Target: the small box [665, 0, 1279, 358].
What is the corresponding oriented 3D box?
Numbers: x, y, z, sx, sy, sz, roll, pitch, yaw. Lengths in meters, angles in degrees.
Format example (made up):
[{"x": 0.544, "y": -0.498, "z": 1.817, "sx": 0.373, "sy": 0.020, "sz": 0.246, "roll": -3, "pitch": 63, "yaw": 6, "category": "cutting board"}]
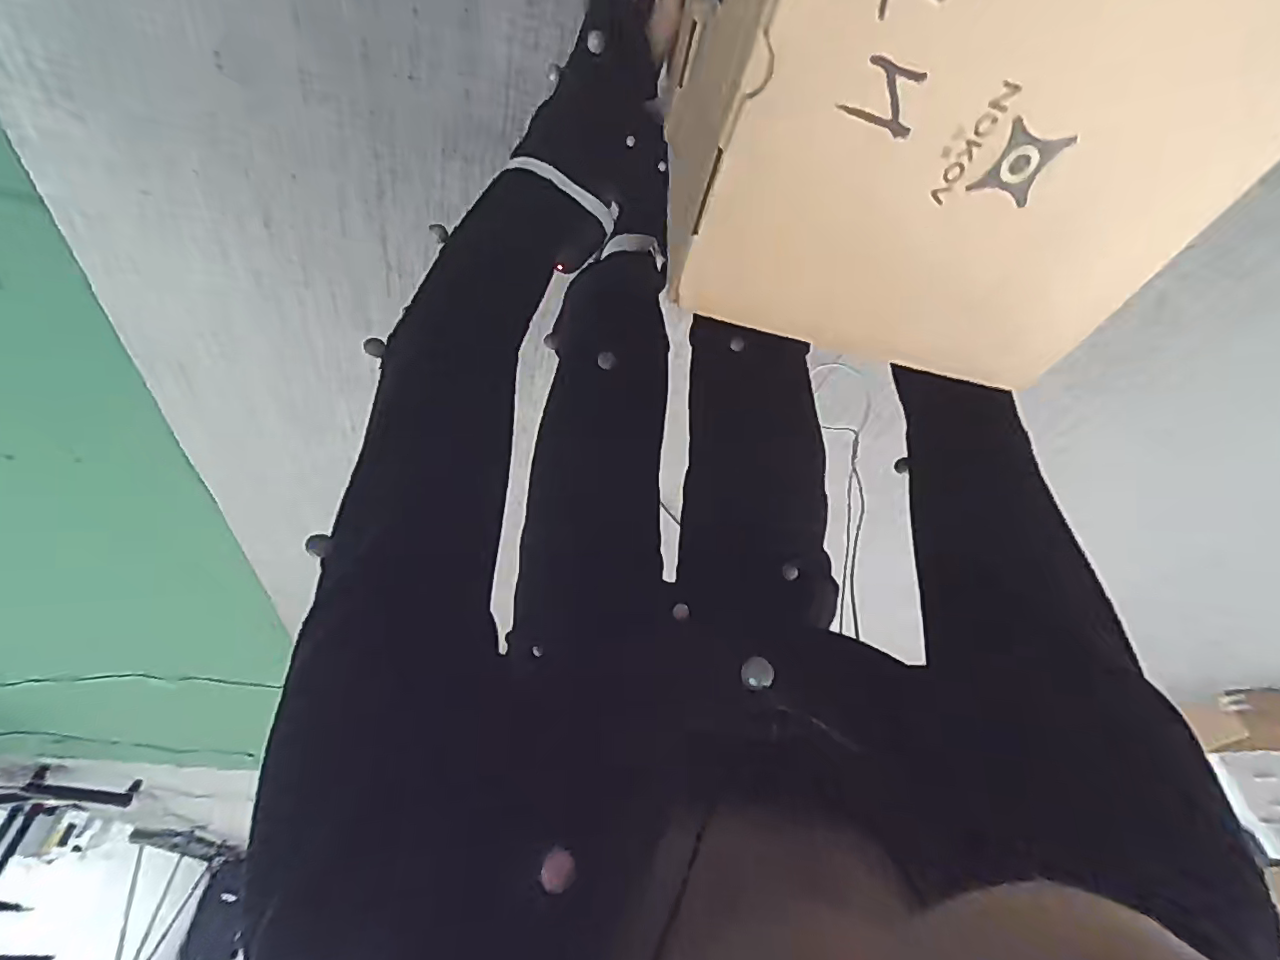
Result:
[{"x": 0.118, "y": -0.184, "z": 0.227, "sx": 0.179, "sy": 0.176, "sz": 0.168, "roll": 12, "pitch": 140, "yaw": -9, "category": "small box"}]
